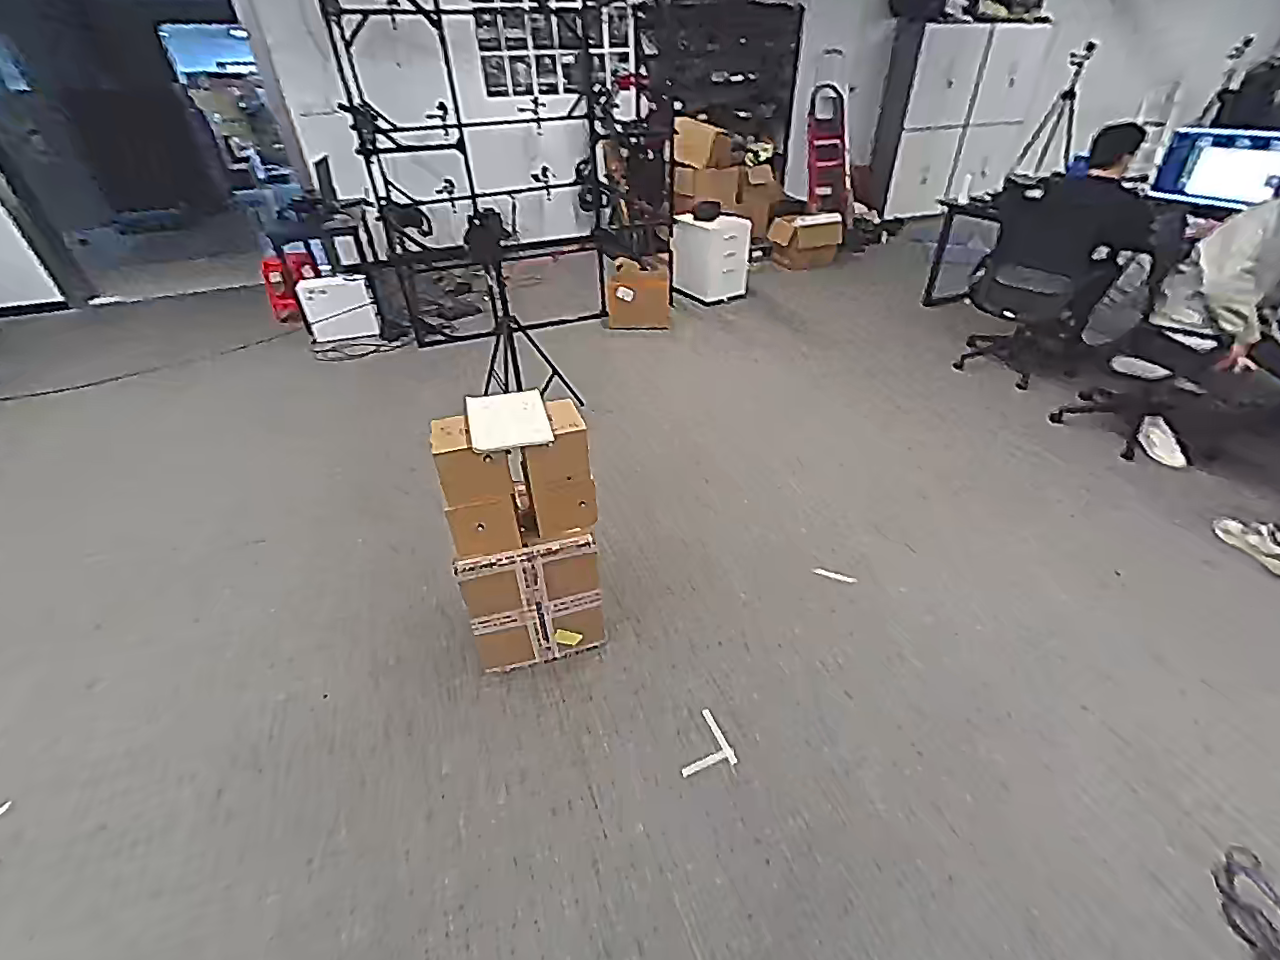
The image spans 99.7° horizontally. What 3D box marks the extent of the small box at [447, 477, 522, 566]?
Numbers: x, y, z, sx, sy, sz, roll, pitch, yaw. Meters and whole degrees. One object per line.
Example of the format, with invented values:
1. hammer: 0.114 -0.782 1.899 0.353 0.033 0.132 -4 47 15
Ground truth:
1. small box: -0.431 0.117 1.518 0.179 0.176 0.168 -10 39 -9

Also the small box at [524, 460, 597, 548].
1. small box: -0.227 0.069 1.573 0.179 0.176 0.168 -14 39 -16
